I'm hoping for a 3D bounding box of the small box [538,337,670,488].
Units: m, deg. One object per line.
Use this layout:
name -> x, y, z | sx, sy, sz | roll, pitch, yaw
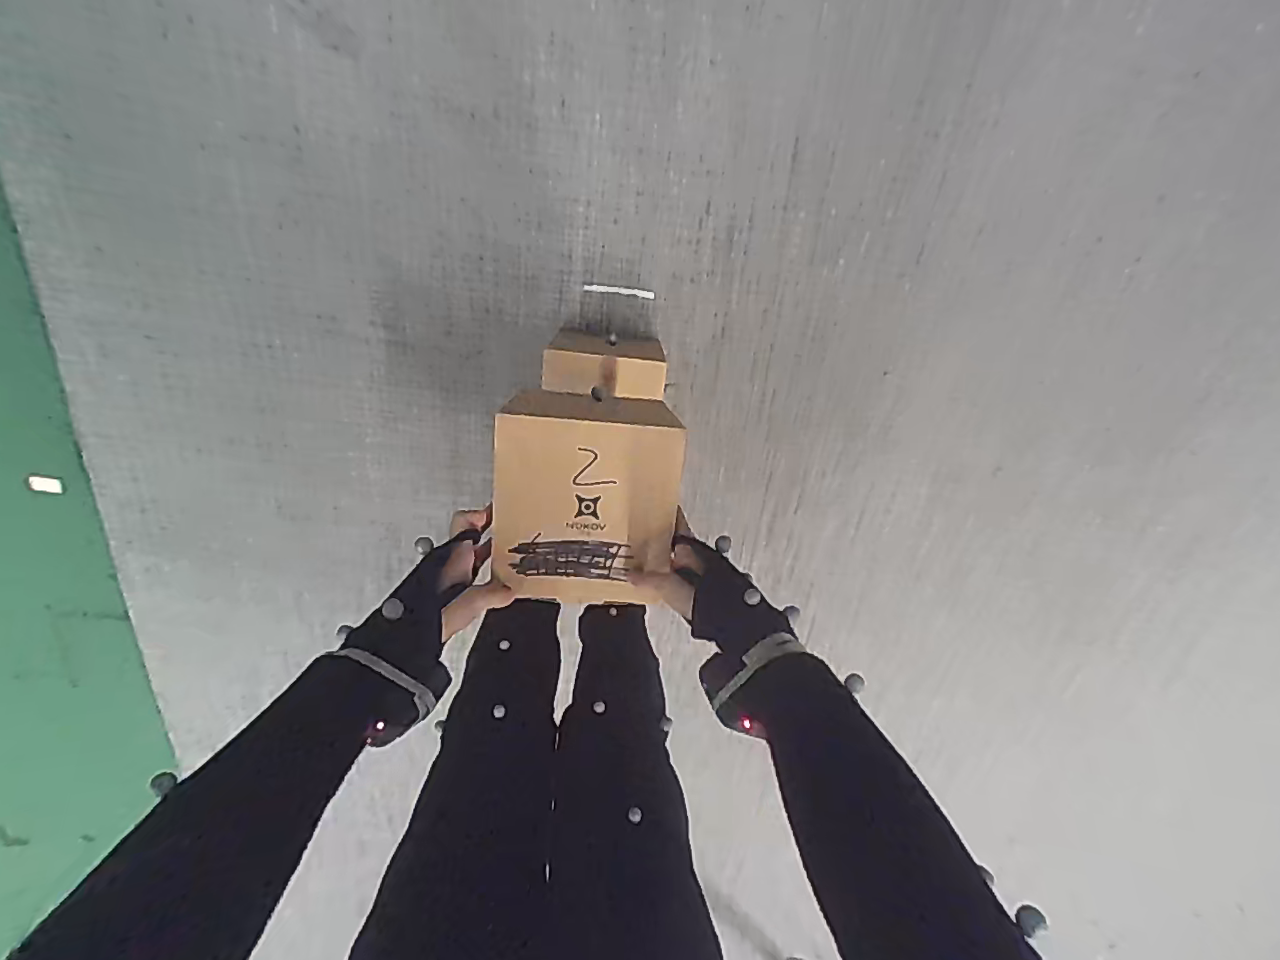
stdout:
small box -> -0.054, -0.108, 0.807 | 0.168, 0.176, 0.179 | 6, 114, -4
